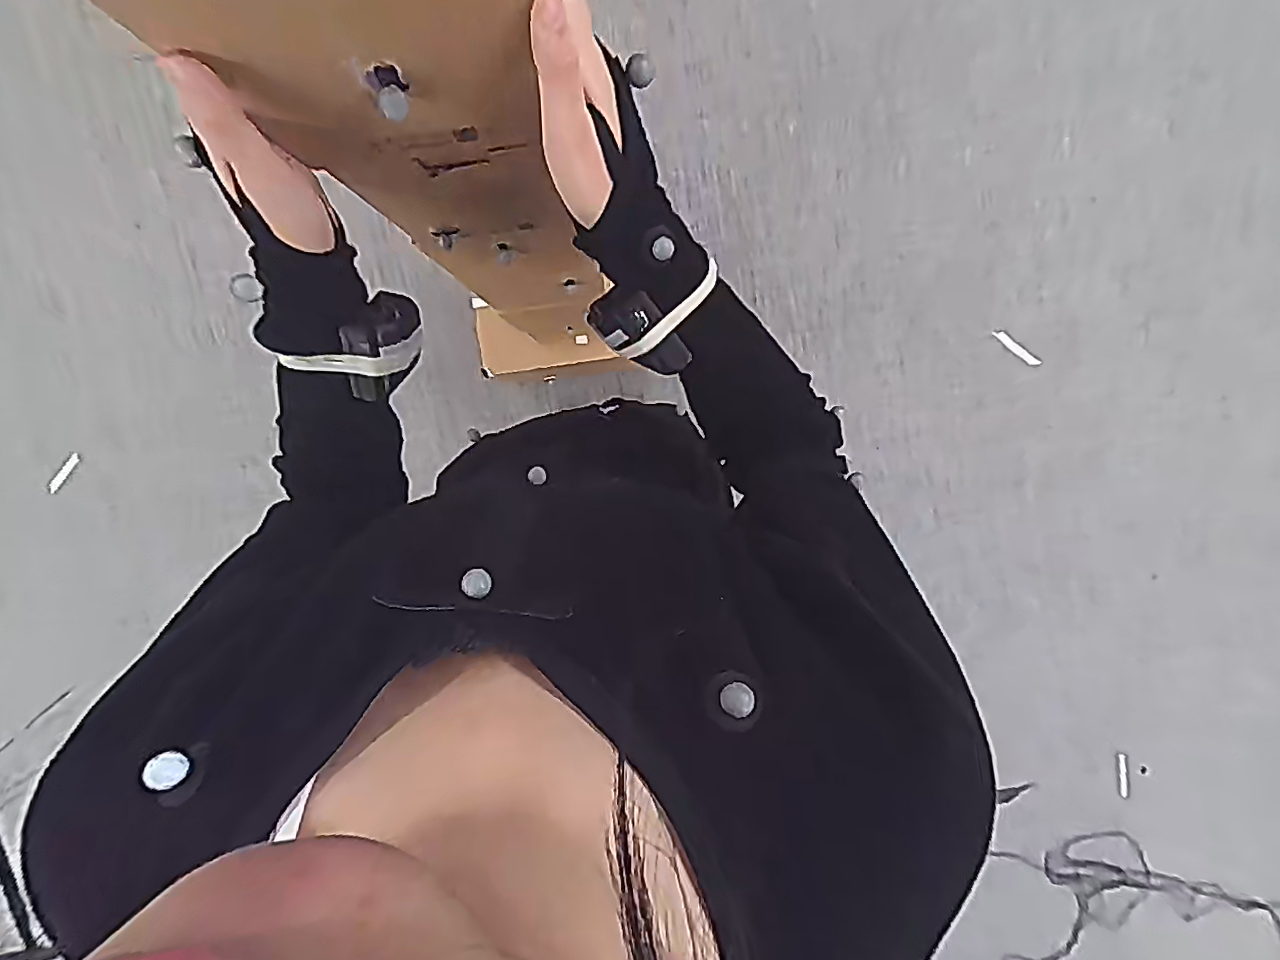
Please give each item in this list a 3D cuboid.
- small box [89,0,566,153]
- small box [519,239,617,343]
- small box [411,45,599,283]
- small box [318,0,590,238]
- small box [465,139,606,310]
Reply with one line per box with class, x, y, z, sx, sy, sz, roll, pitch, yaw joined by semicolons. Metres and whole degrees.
small box;-0.134;-0.279;0.252;0.168;0.176;0.179;-8;98;0
small box;-0.145;-0.374;1.065;0.179;0.176;0.168;-11;98;-1
small box;-0.138;-0.320;0.578;0.179;0.176;0.168;-7;98;0
small box;-0.132;-0.301;0.414;0.168;0.176;0.179;-6;96;-1
small box;-0.141;-0.337;0.739;0.179;0.176;0.168;-7;97;0
